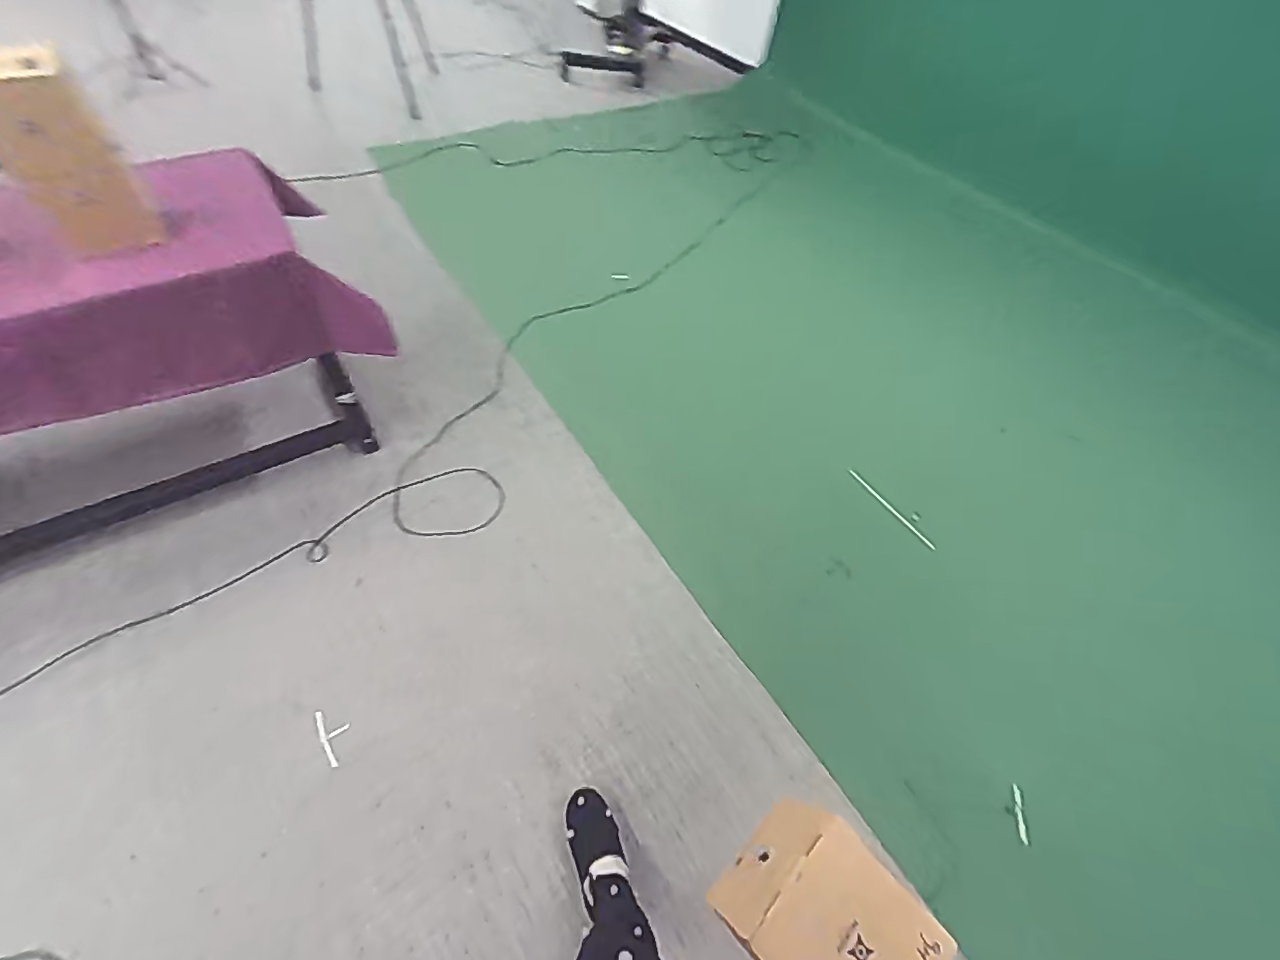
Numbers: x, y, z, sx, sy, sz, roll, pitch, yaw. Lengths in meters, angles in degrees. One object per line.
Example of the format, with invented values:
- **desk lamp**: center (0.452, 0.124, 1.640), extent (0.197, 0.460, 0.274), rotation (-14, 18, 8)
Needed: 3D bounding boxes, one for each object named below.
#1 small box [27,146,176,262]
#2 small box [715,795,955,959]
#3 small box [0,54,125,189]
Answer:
- **small box**: center (-1.193, -0.614, 1.209), extent (0.179, 0.176, 0.168), rotation (-24, 59, -22)
- **small box**: center (0.215, 0.509, 0.645), extent (0.168, 0.176, 0.179), rotation (-39, 75, -23)
- **small box**: center (-1.178, -0.713, 1.078), extent (0.179, 0.176, 0.168), rotation (-25, 60, -20)
